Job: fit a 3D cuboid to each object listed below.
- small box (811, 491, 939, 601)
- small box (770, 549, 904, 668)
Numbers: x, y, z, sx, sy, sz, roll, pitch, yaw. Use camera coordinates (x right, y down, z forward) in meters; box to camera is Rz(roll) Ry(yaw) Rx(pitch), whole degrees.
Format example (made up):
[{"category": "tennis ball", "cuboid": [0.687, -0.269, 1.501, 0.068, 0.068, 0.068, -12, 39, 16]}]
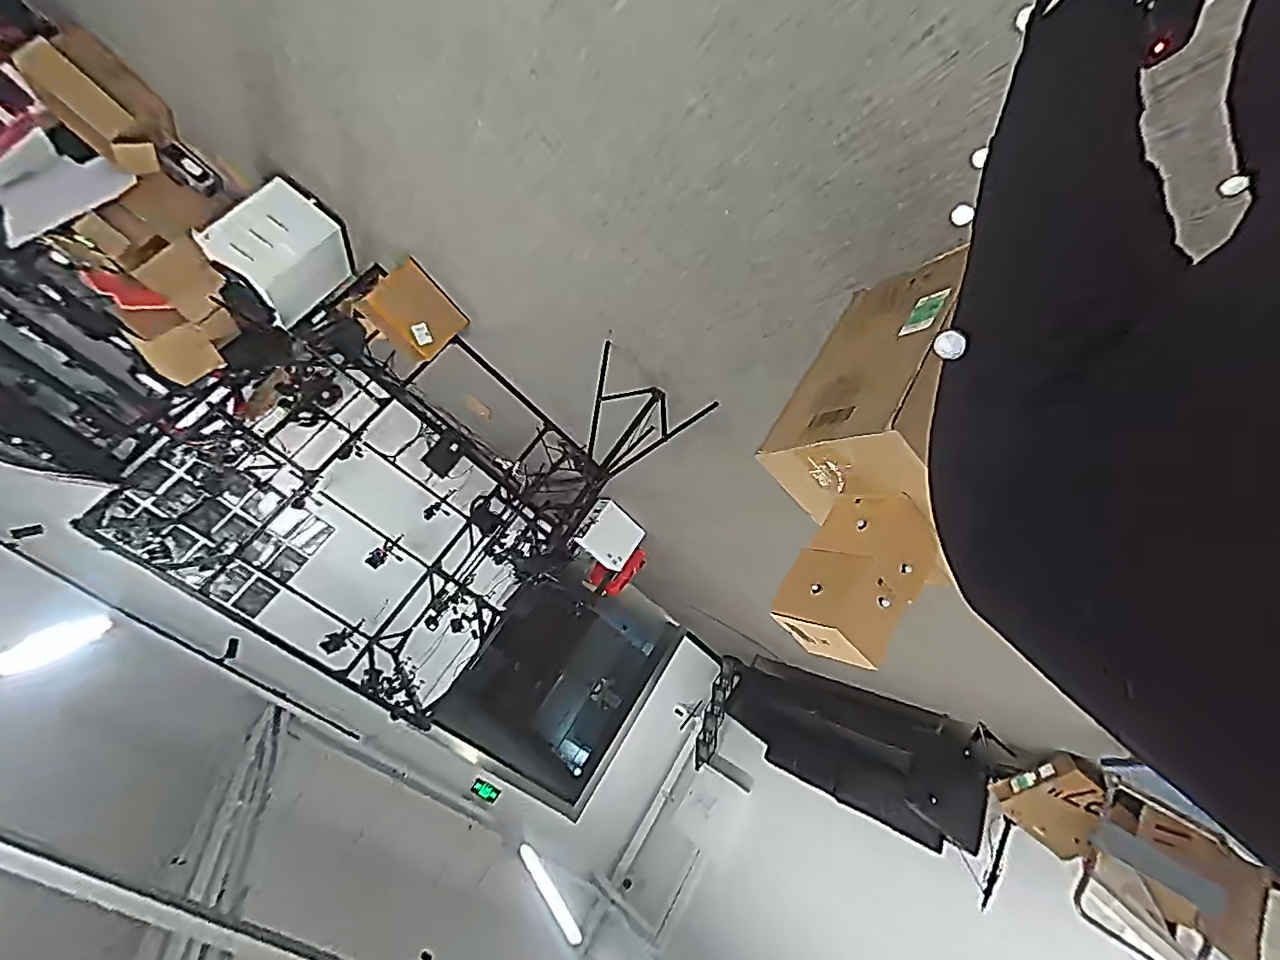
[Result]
[{"category": "small box", "cuboid": [0.516, 0.137, 1.184, 0.179, 0.176, 0.168, 43, 158, -23]}, {"category": "small box", "cuboid": [0.416, 0.261, 1.137, 0.168, 0.176, 0.179, 43, 157, -24]}]
